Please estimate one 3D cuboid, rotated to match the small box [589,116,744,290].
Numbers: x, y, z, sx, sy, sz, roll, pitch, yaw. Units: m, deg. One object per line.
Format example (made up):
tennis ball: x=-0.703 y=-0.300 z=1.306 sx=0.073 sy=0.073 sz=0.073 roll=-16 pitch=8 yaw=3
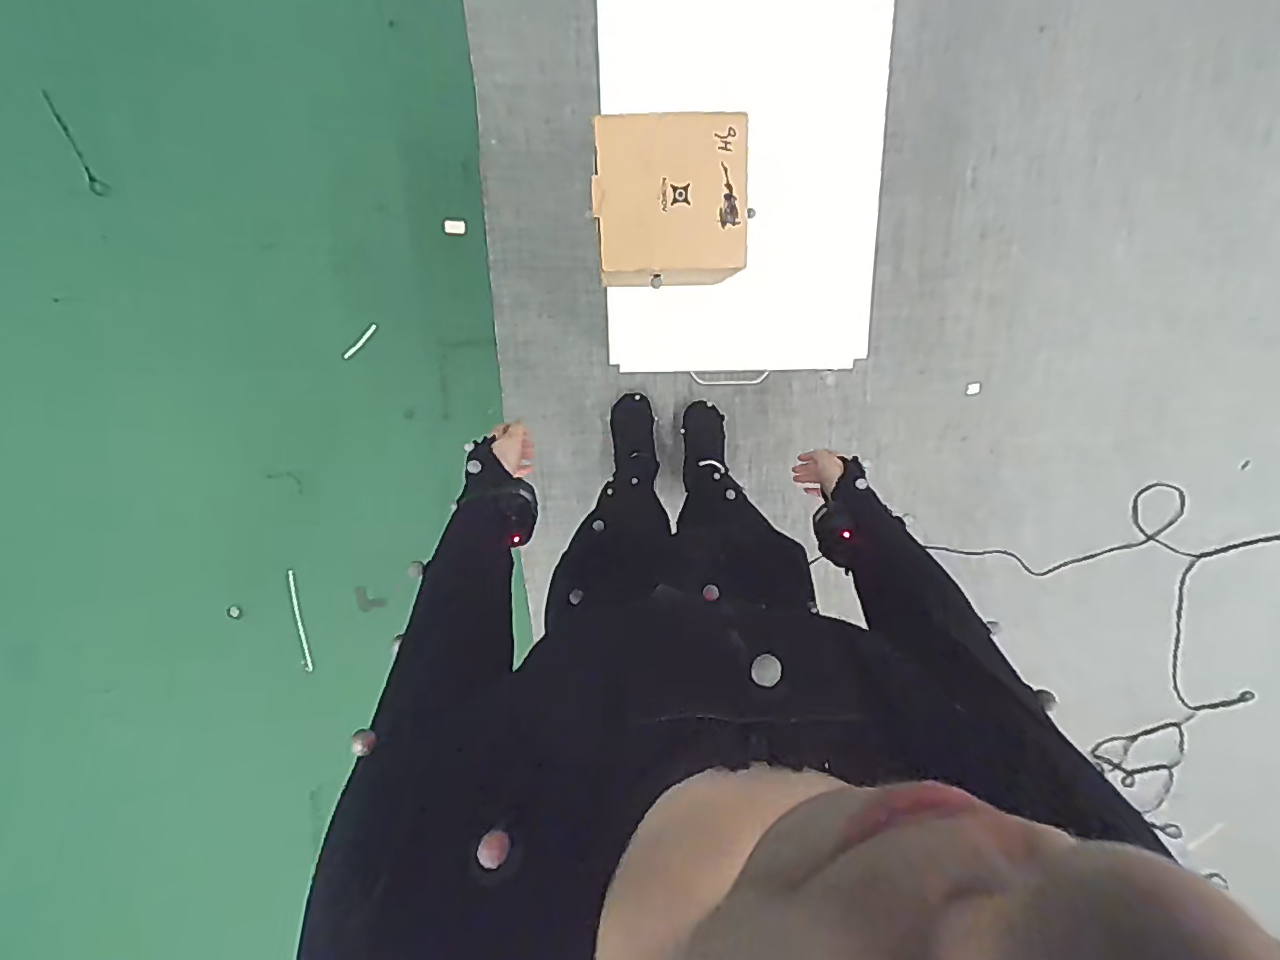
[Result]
small box: x=0.028 y=-0.342 z=0.698 sx=0.179 sy=0.176 sz=0.168 roll=-2 pitch=103 yaw=-3
